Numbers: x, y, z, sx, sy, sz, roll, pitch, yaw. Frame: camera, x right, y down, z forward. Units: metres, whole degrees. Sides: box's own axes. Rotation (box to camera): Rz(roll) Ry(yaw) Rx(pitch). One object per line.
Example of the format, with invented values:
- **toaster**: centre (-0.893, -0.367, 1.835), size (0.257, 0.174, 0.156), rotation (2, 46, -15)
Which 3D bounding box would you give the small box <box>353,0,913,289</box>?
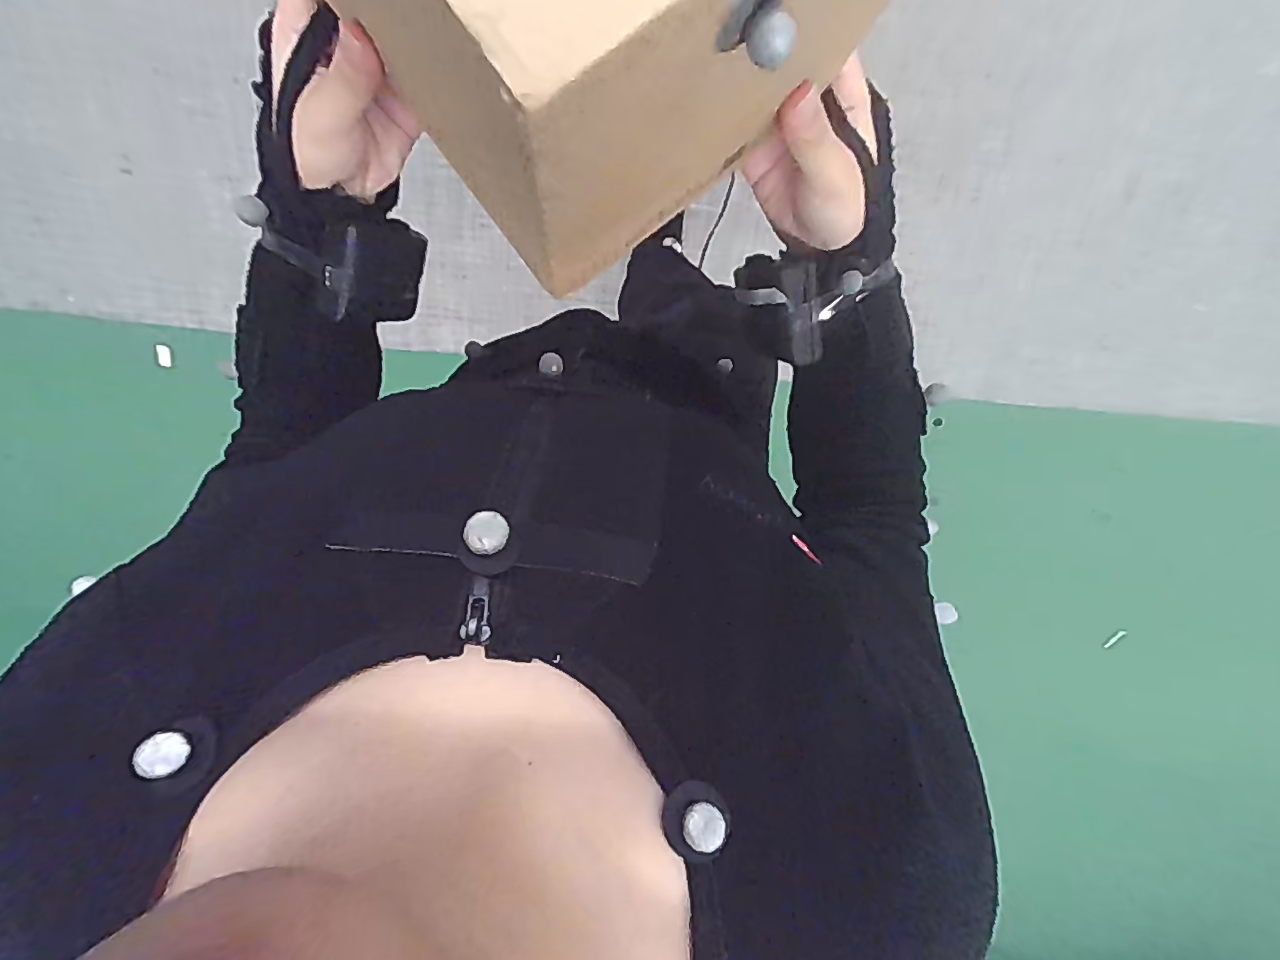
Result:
- **small box**: centre (-0.011, -0.197, 0.184), size (0.168, 0.176, 0.179), rotation (-39, 98, 0)
